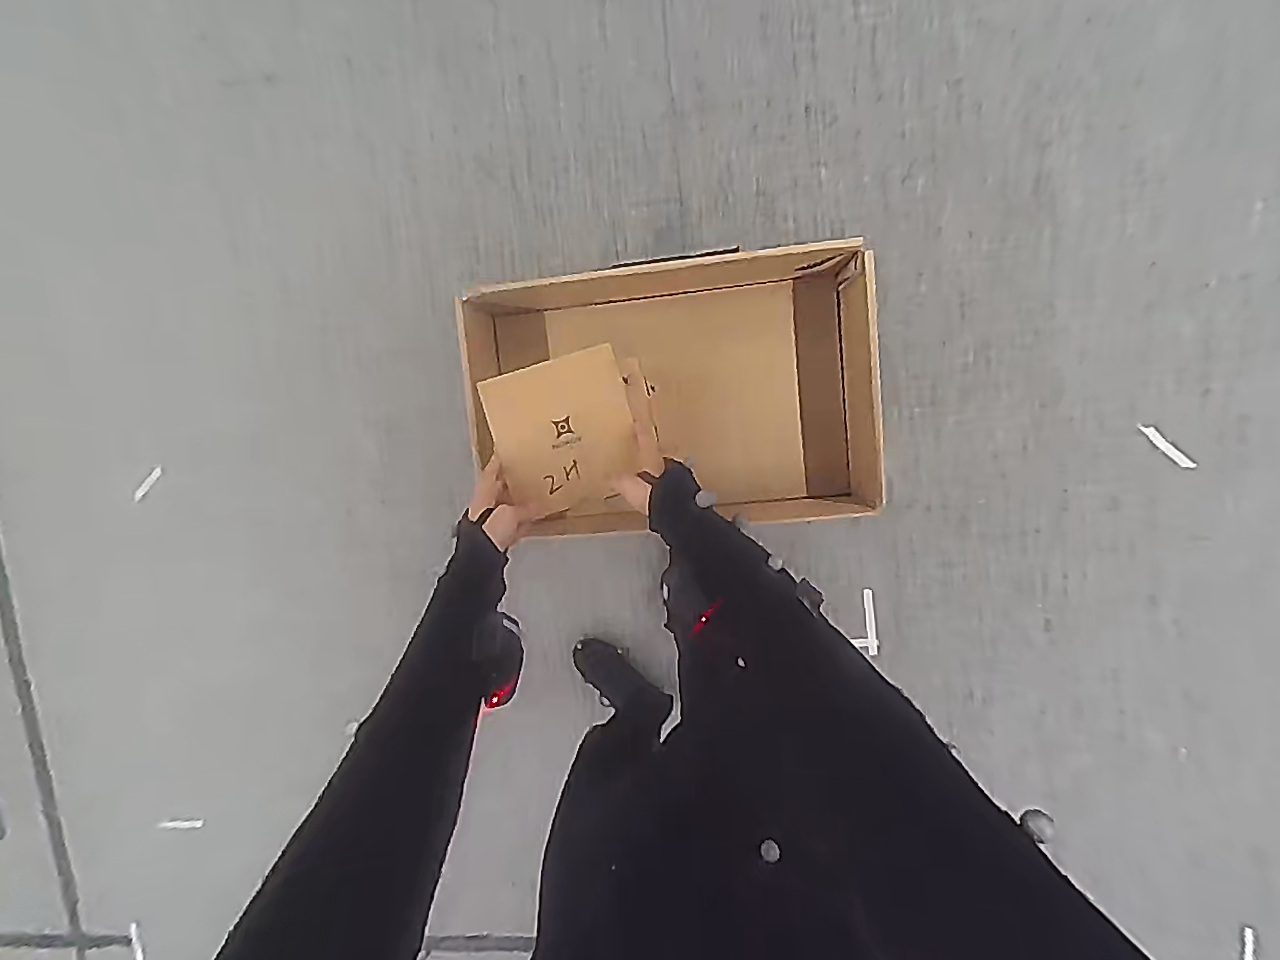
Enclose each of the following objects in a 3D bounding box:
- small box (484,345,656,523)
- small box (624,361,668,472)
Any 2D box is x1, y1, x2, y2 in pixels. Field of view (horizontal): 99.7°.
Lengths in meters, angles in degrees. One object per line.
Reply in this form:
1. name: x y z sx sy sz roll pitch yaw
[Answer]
1. small box: -0.080 -0.058 0.708 0.168 0.176 0.179 -16 95 4
2. small box: -0.055 -0.088 0.870 0.179 0.176 0.168 -12 95 5
